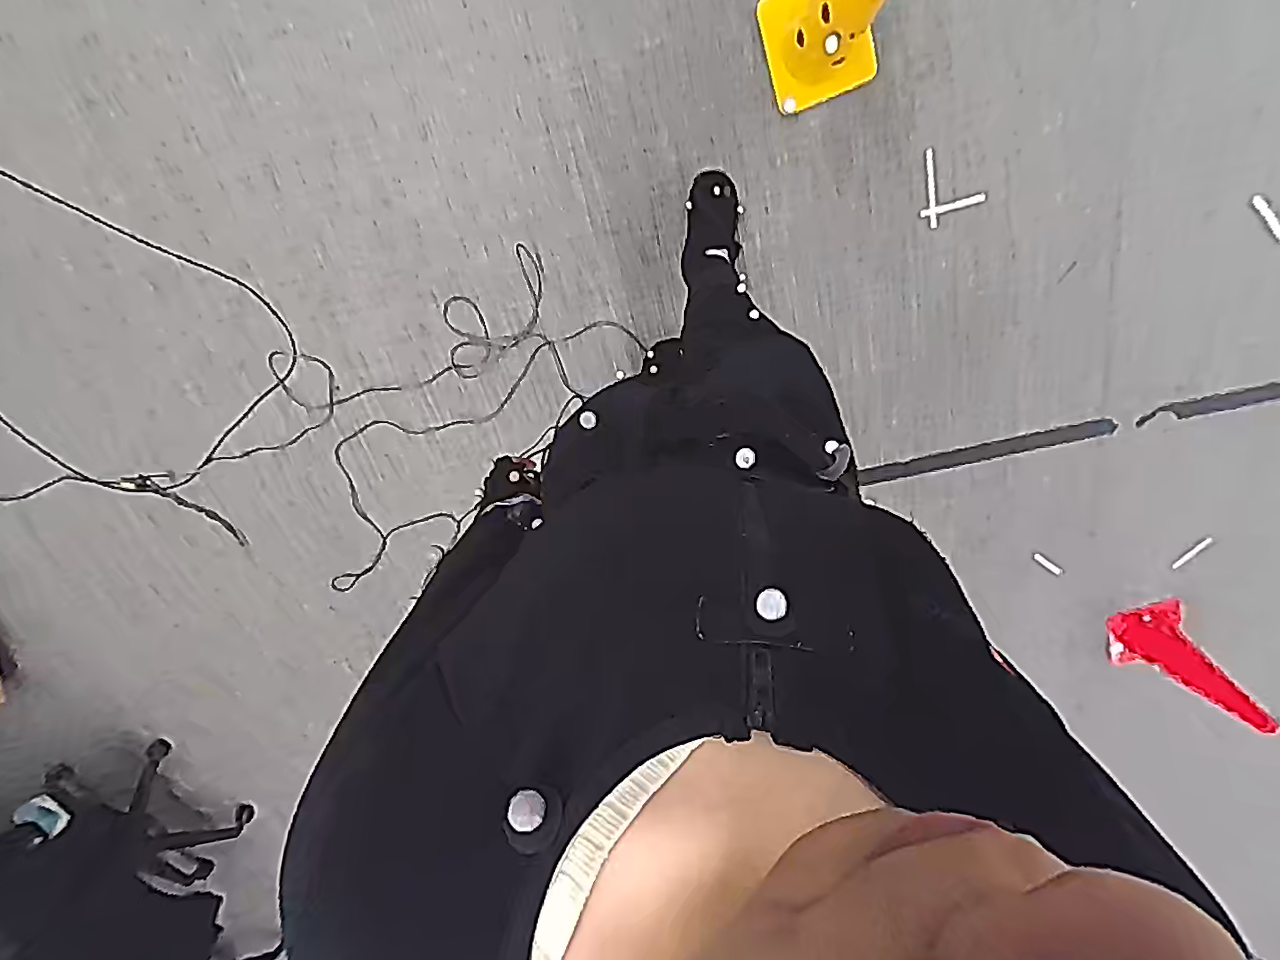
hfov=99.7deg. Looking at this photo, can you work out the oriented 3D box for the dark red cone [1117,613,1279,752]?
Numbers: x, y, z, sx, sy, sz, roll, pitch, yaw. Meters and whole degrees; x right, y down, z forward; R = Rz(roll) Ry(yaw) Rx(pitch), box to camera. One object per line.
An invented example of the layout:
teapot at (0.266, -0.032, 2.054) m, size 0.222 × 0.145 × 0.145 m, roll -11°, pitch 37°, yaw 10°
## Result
dark red cone at (1.497, 0.542, 1.418) m, size 0.202 × 0.394 × 0.201 m, roll -20°, pitch 110°, yaw 8°
